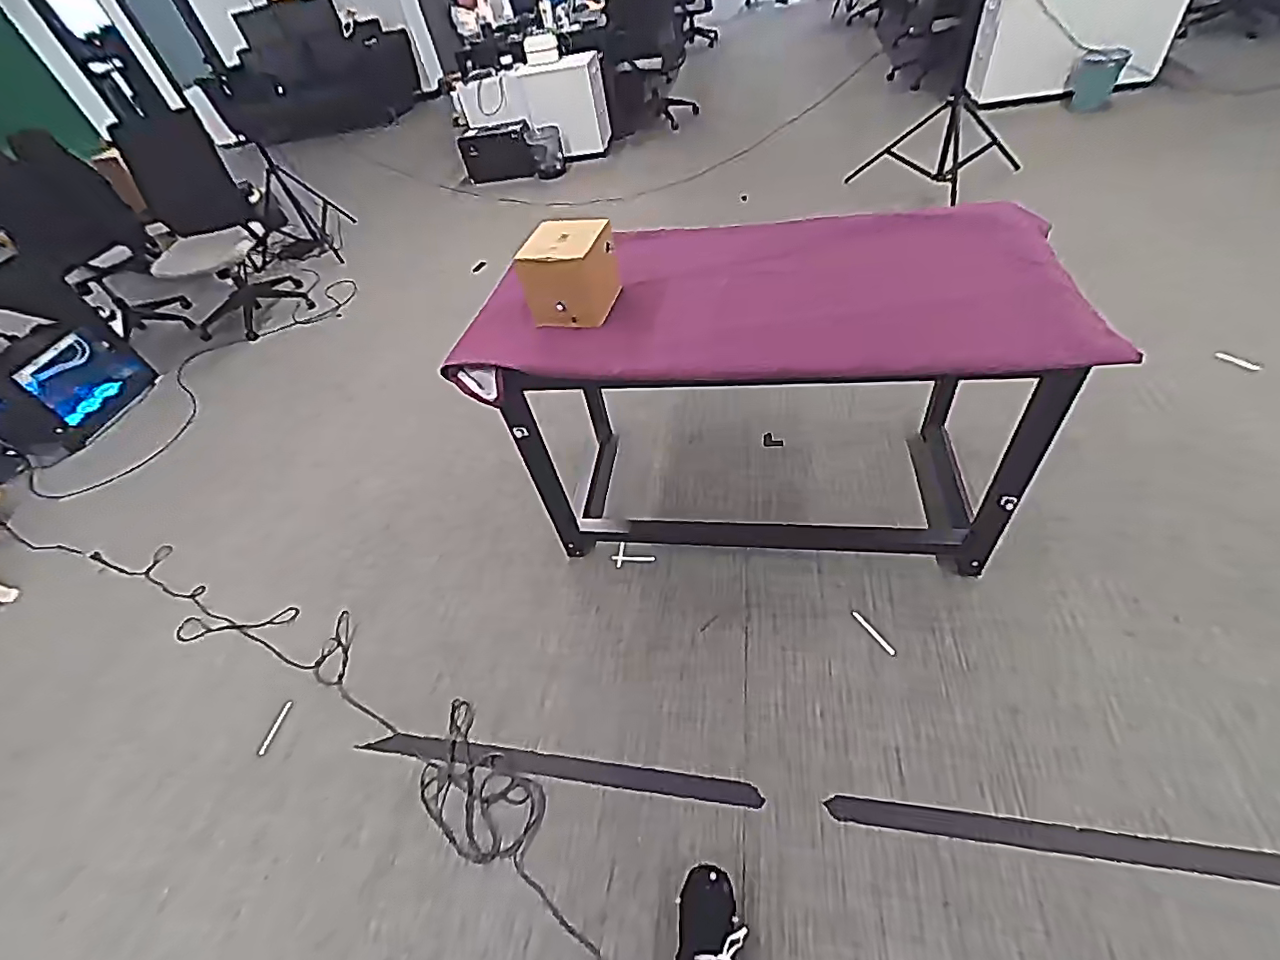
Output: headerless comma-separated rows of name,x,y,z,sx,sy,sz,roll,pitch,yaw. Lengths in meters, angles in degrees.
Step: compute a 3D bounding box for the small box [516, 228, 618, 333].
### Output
small box,-0.157,-0.460,1.247,0.168,0.176,0.179,6,50,17
